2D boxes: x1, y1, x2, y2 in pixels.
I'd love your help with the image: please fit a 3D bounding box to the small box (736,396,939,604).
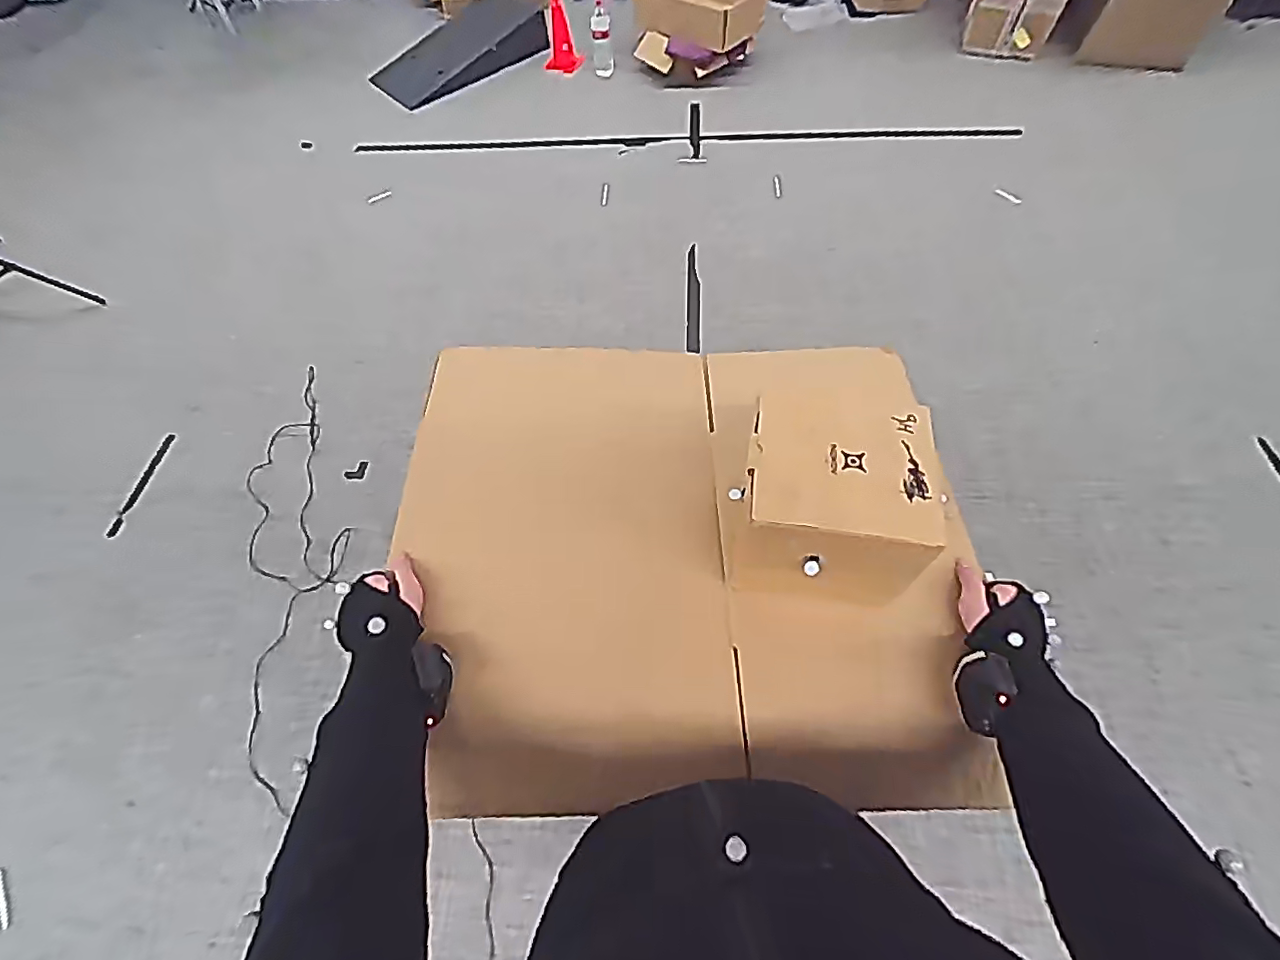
[{"bbox_3d":[0.205,0.028,0.607,0.179,0.176,0.168,6,59,9],"label":"small box"}]
